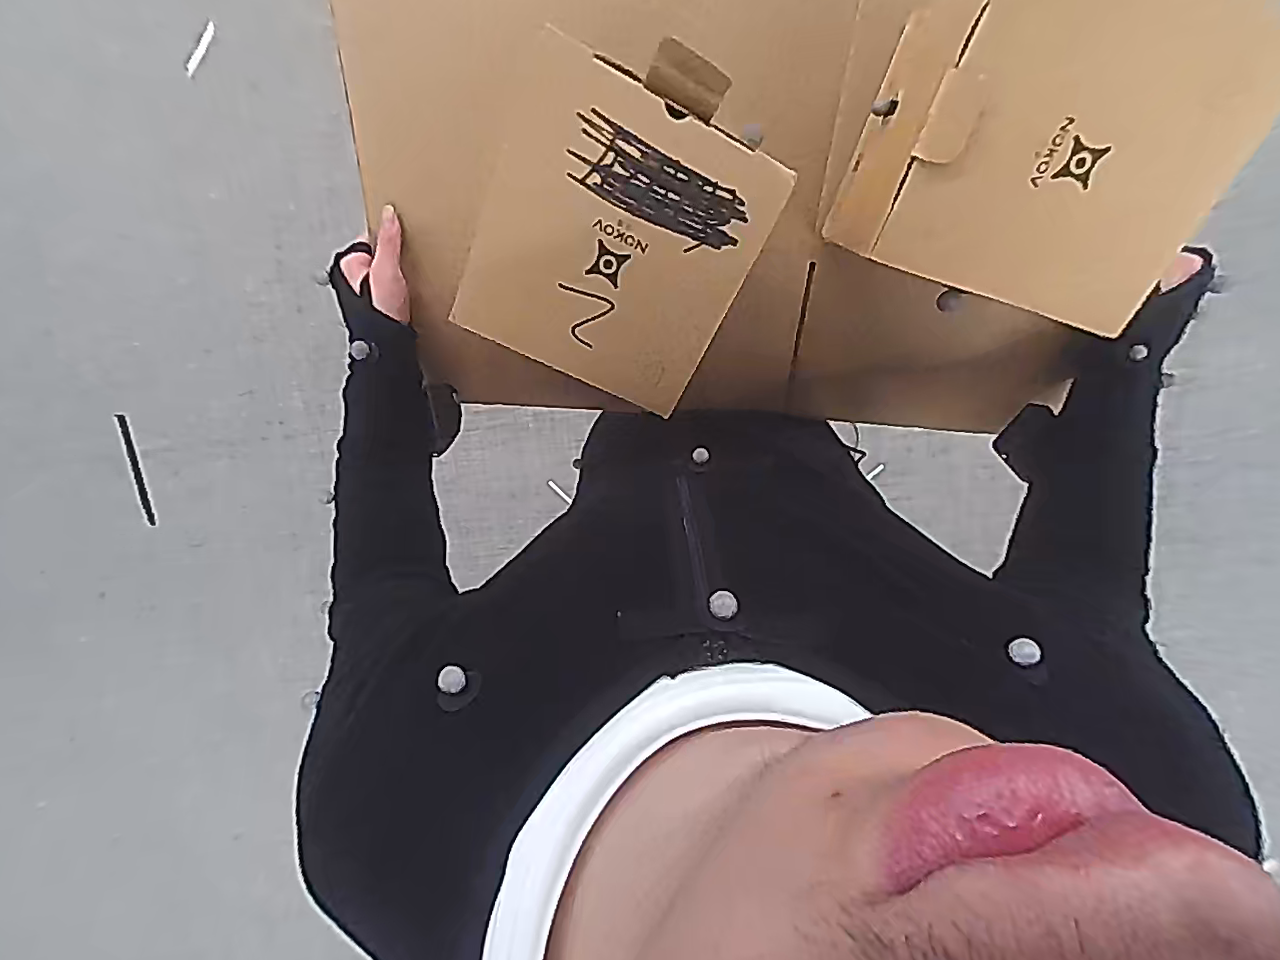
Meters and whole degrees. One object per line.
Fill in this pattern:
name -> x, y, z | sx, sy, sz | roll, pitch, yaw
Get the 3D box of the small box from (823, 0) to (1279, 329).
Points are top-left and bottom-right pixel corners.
small box -> 0.260, -0.232, 0.399 | 0.179, 0.176, 0.168 | 17, 119, -1
